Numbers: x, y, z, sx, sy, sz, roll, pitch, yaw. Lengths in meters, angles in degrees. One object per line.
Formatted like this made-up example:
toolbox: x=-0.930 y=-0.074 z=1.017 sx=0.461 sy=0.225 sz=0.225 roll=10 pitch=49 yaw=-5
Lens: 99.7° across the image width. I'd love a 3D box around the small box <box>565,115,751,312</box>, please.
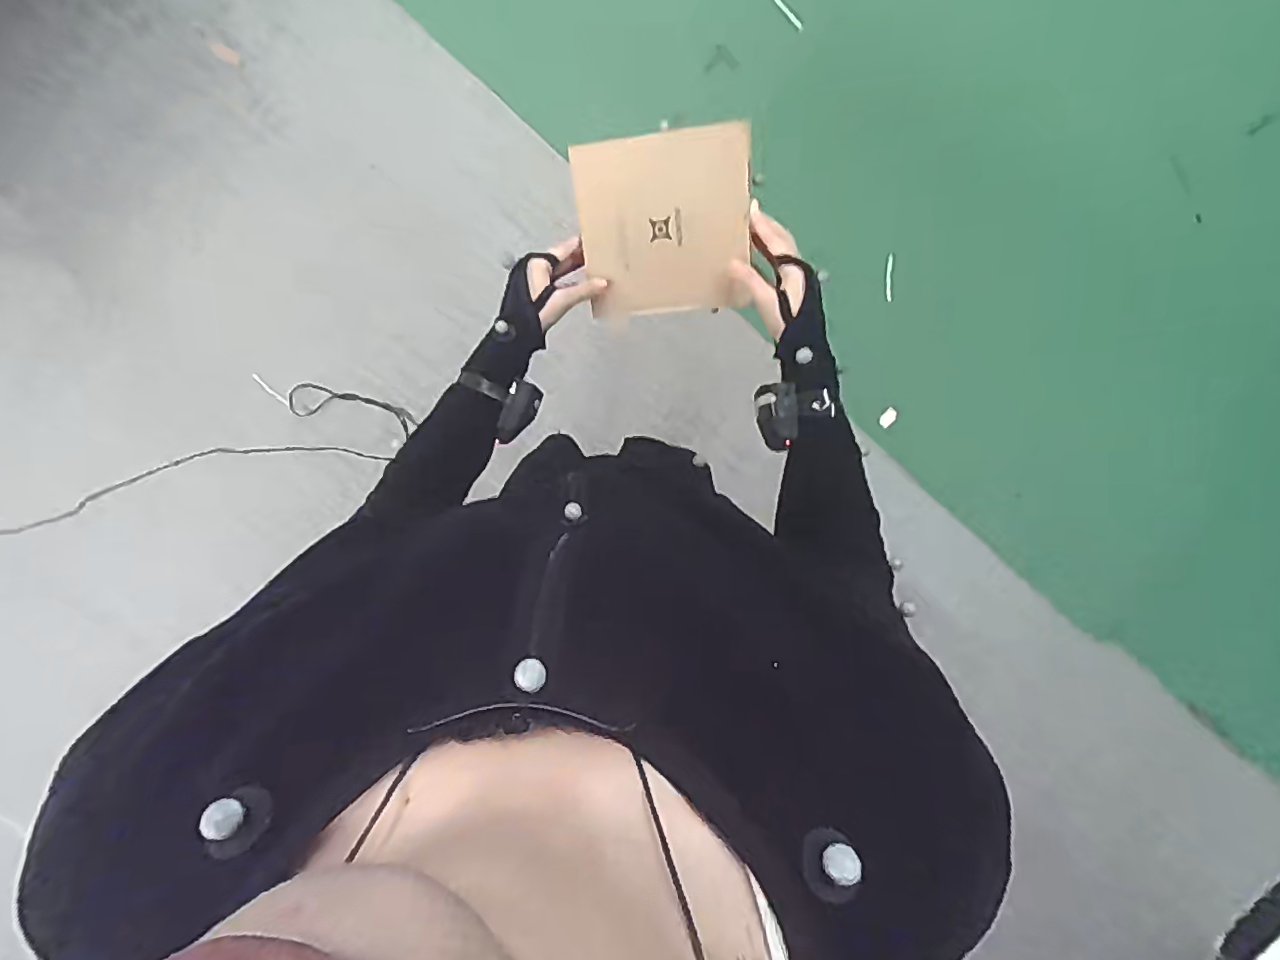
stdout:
small box: x=0.030 y=-0.290 z=0.605 sx=0.179 sy=0.176 sz=0.168 roll=-2 pitch=114 yaw=10
